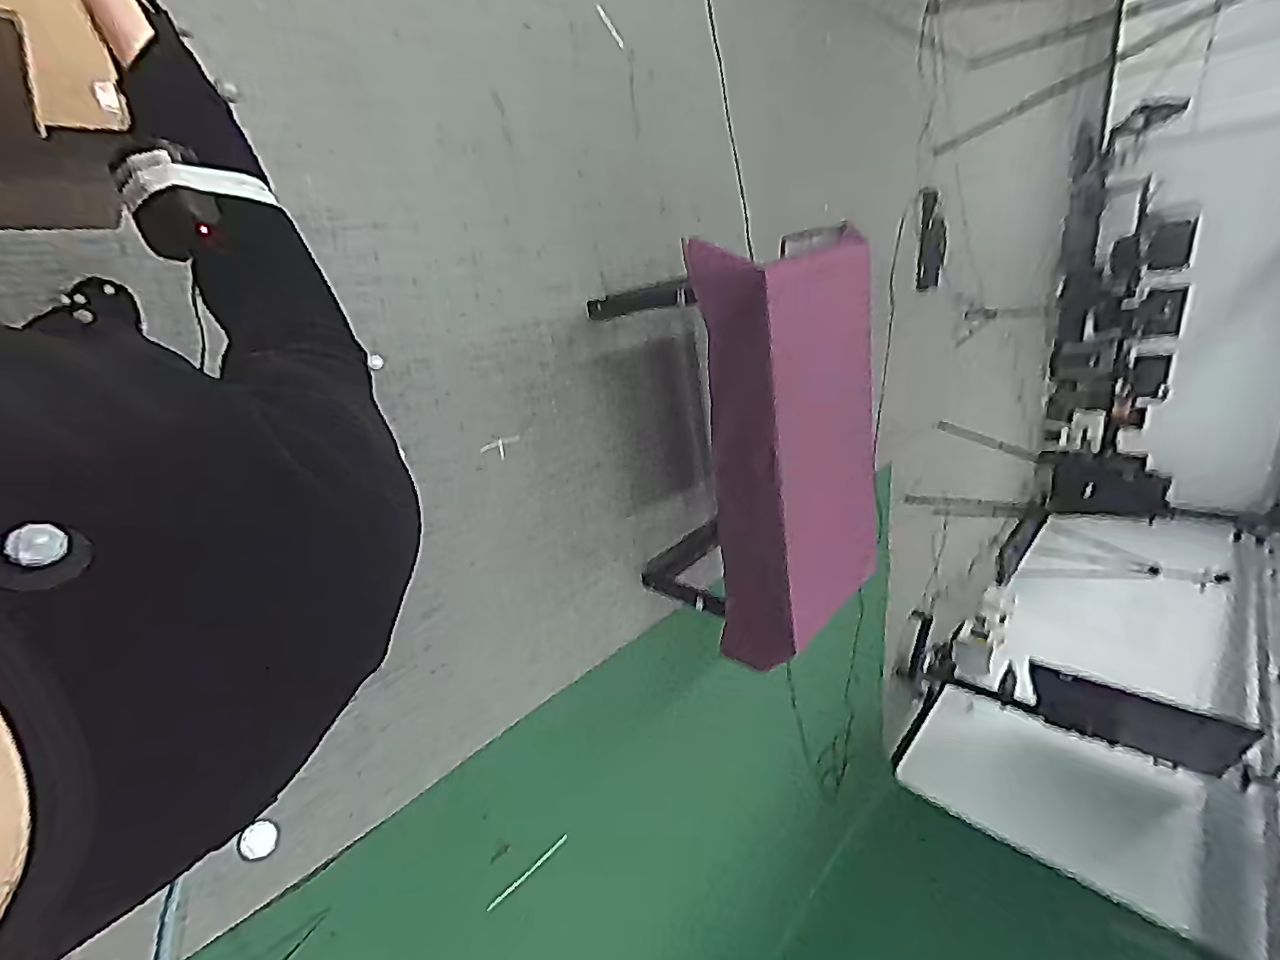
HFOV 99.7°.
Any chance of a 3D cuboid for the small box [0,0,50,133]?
[{"bbox_3d":[-0.385,-0.285,0.226,0.168,0.176,0.179,-12,107,-44],"label":"small box"}]
